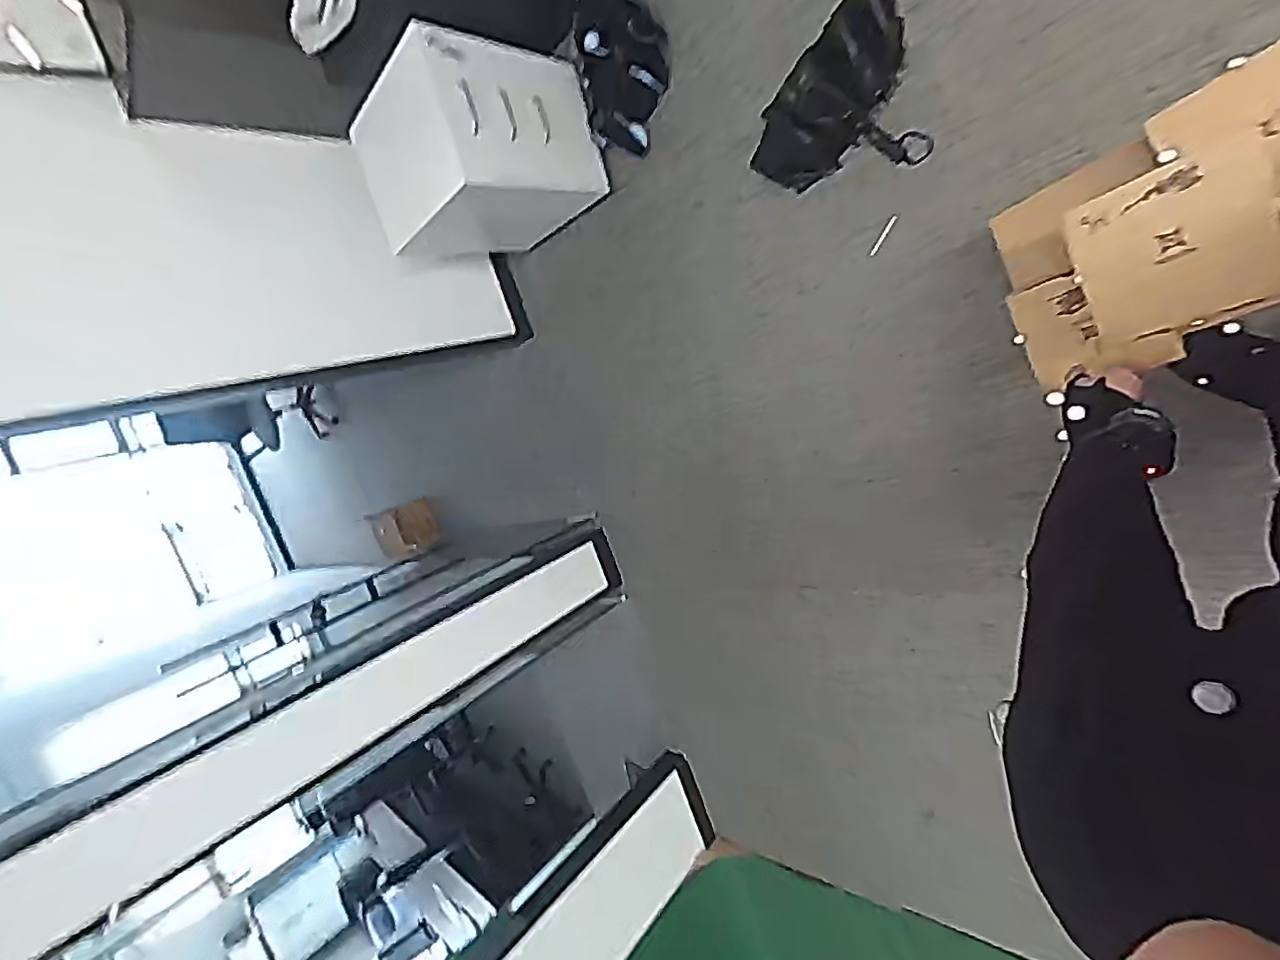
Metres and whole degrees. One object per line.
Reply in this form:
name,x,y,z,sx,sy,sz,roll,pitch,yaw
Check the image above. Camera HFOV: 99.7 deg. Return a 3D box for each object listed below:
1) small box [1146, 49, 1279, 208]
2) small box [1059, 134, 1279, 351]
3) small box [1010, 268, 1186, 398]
small box,0.791,-0.428,0.686,0.179,0.176,0.168,-26,87,49
small box,0.644,-0.281,0.654,0.168,0.176,0.179,-17,98,48
small box,0.713,-0.252,0.846,0.168,0.176,0.179,-19,97,48
